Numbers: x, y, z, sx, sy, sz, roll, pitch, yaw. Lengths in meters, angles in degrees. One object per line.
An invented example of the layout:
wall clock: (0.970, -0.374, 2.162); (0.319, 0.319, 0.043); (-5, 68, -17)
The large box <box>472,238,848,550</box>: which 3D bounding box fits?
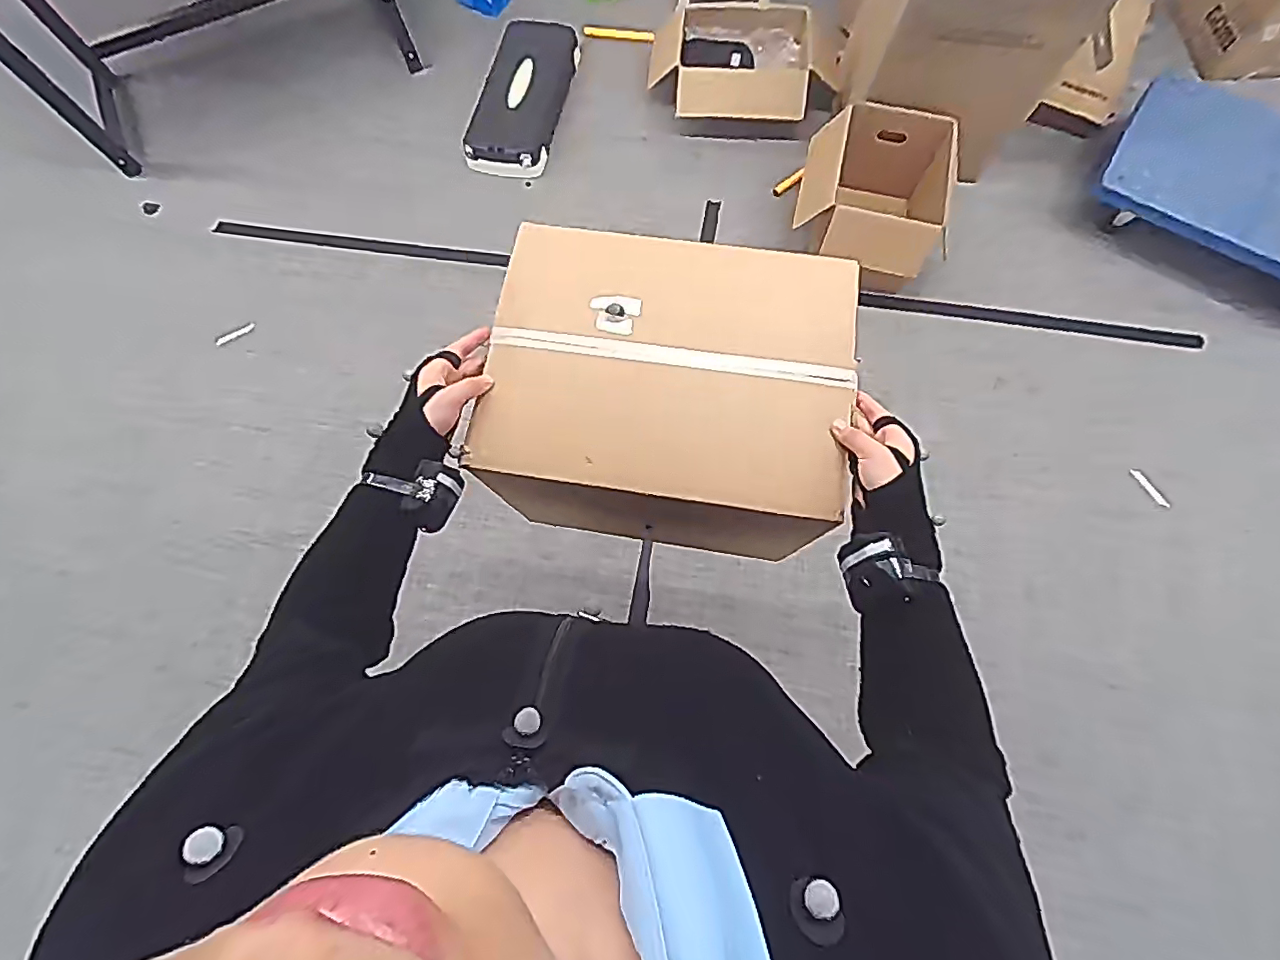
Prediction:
large box: (0.039, -0.093, 0.755); (0.408, 0.320, 0.320); (7, 73, 5)
